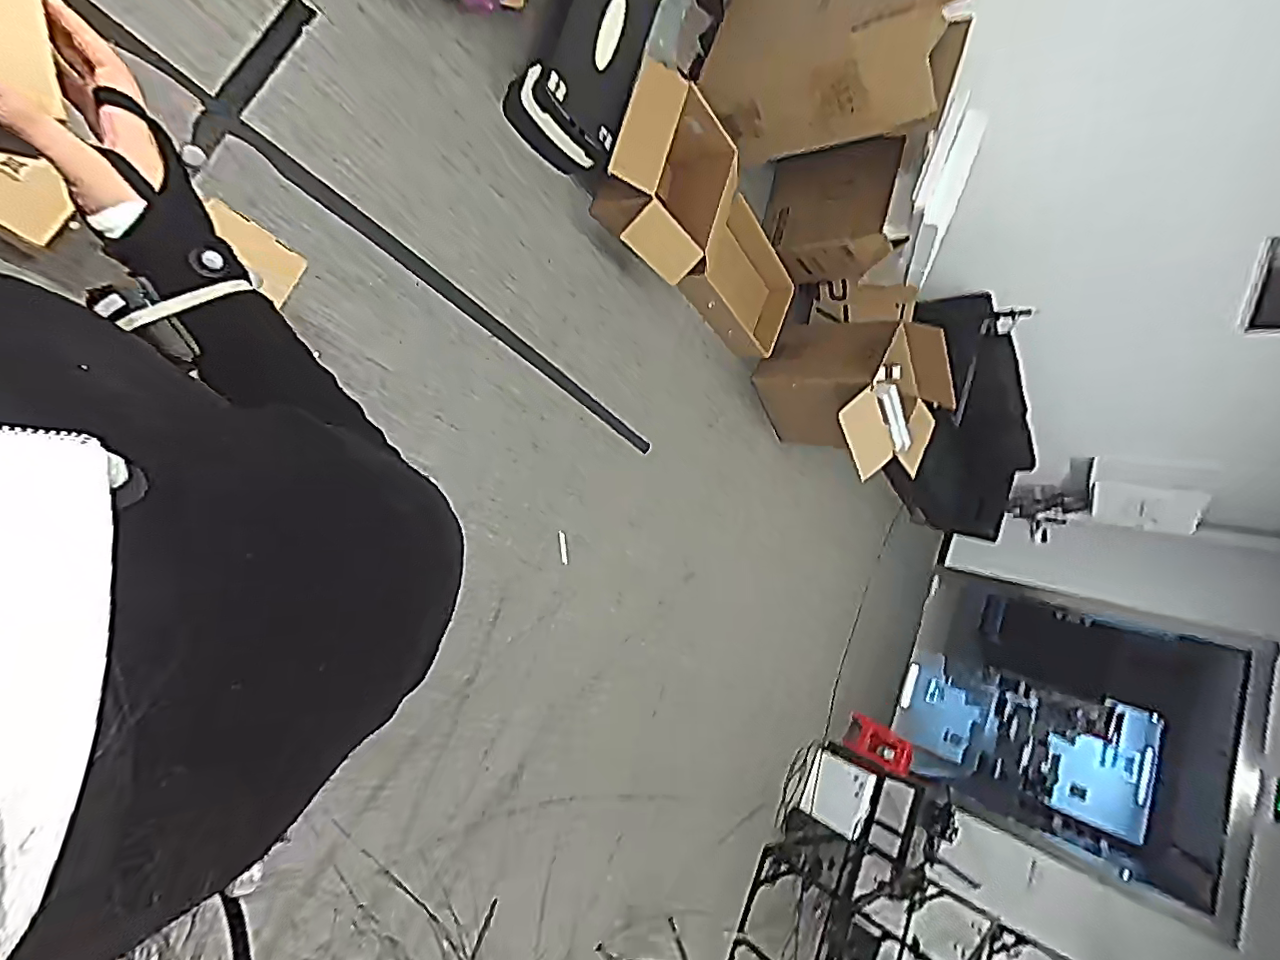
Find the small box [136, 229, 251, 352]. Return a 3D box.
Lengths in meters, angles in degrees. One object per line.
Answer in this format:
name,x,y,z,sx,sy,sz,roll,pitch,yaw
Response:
small box,-0.878,-0.380,1.106,0.179,0.176,0.168,34,73,-46

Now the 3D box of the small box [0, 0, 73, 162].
small box,-0.455,-0.290,0.292,0.179,0.176,0.168,-15,115,-50

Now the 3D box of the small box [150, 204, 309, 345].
small box,-0.758,-0.368,0.996,0.168,0.176,0.179,36,73,-44

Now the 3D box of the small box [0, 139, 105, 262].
small box,-1.046,-0.490,0.901,0.168,0.176,0.179,38,71,-44
